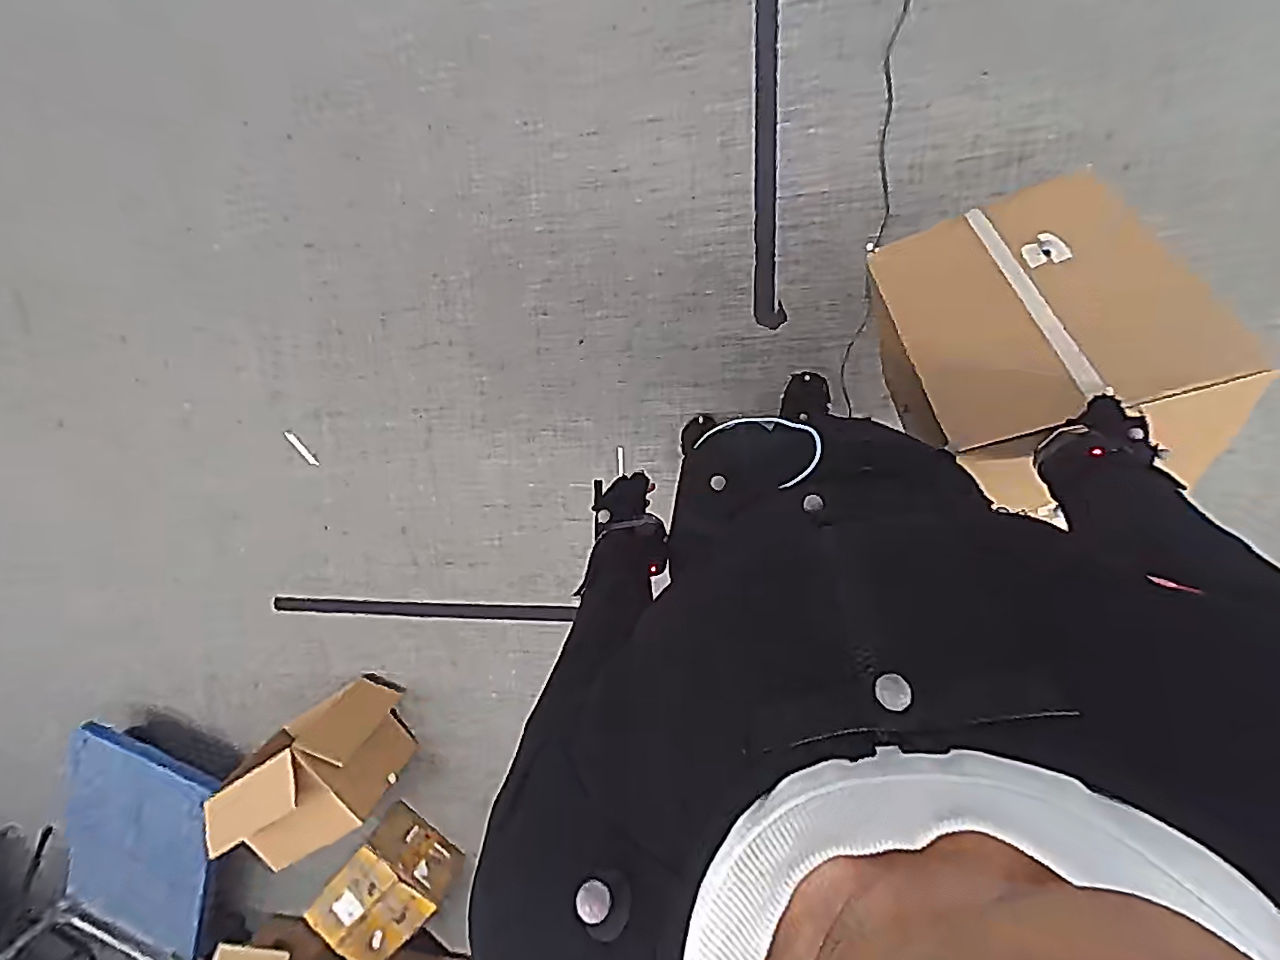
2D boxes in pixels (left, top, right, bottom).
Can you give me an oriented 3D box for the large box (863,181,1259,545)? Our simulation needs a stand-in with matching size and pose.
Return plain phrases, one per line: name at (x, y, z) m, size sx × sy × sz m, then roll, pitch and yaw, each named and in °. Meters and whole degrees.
large box at (0.582, -0.165, 0.849) m, size 0.320 × 0.320 × 0.408 m, roll -16°, pitch 54°, yaw 19°
